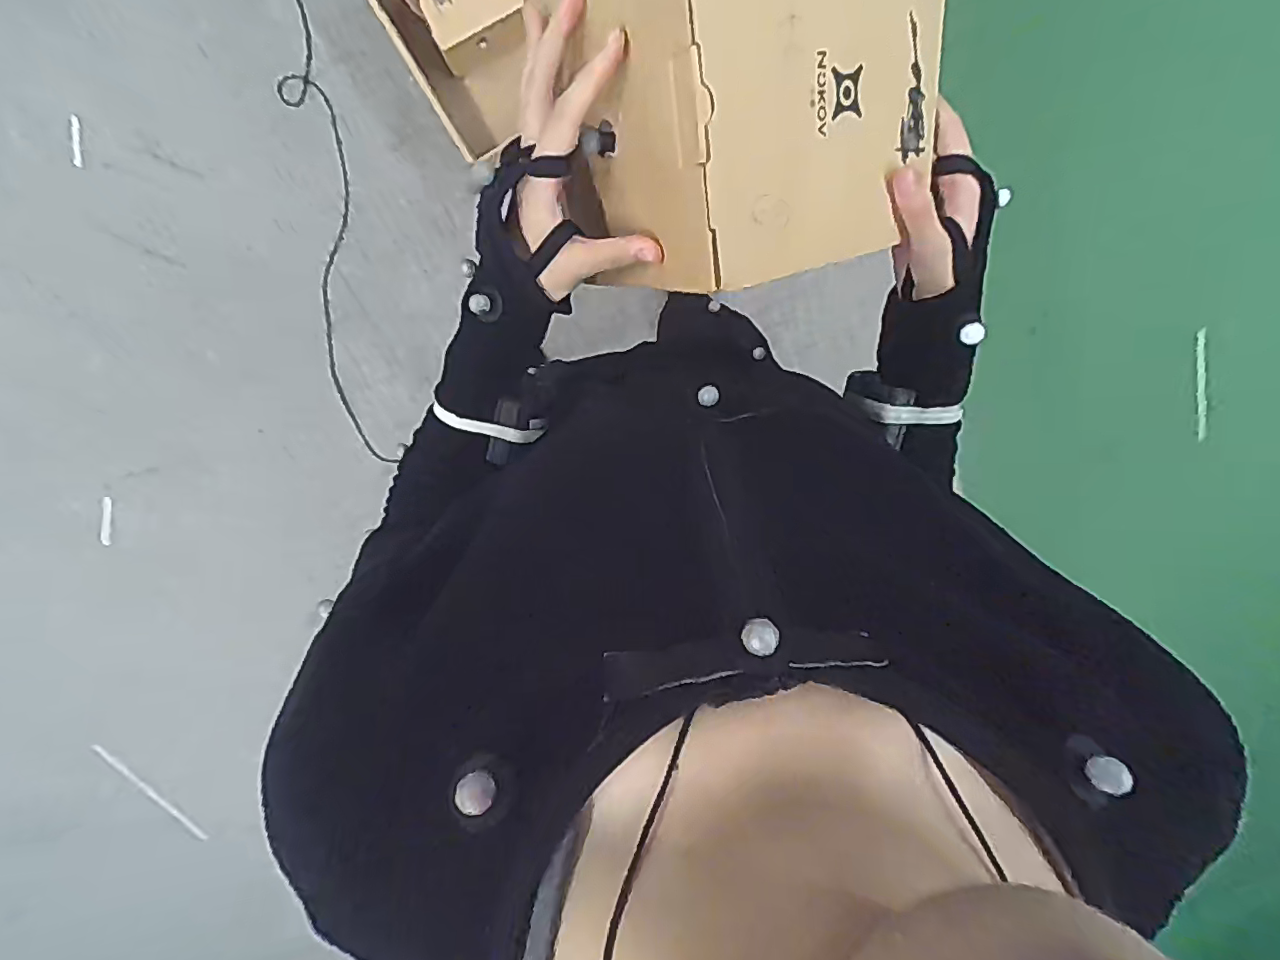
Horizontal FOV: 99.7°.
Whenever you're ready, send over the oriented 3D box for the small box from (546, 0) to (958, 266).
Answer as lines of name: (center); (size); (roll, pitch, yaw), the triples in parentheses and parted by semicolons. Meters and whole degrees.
small box: (0.058, -0.231, 0.326); (0.179, 0.176, 0.168); (-24, 121, -24)
